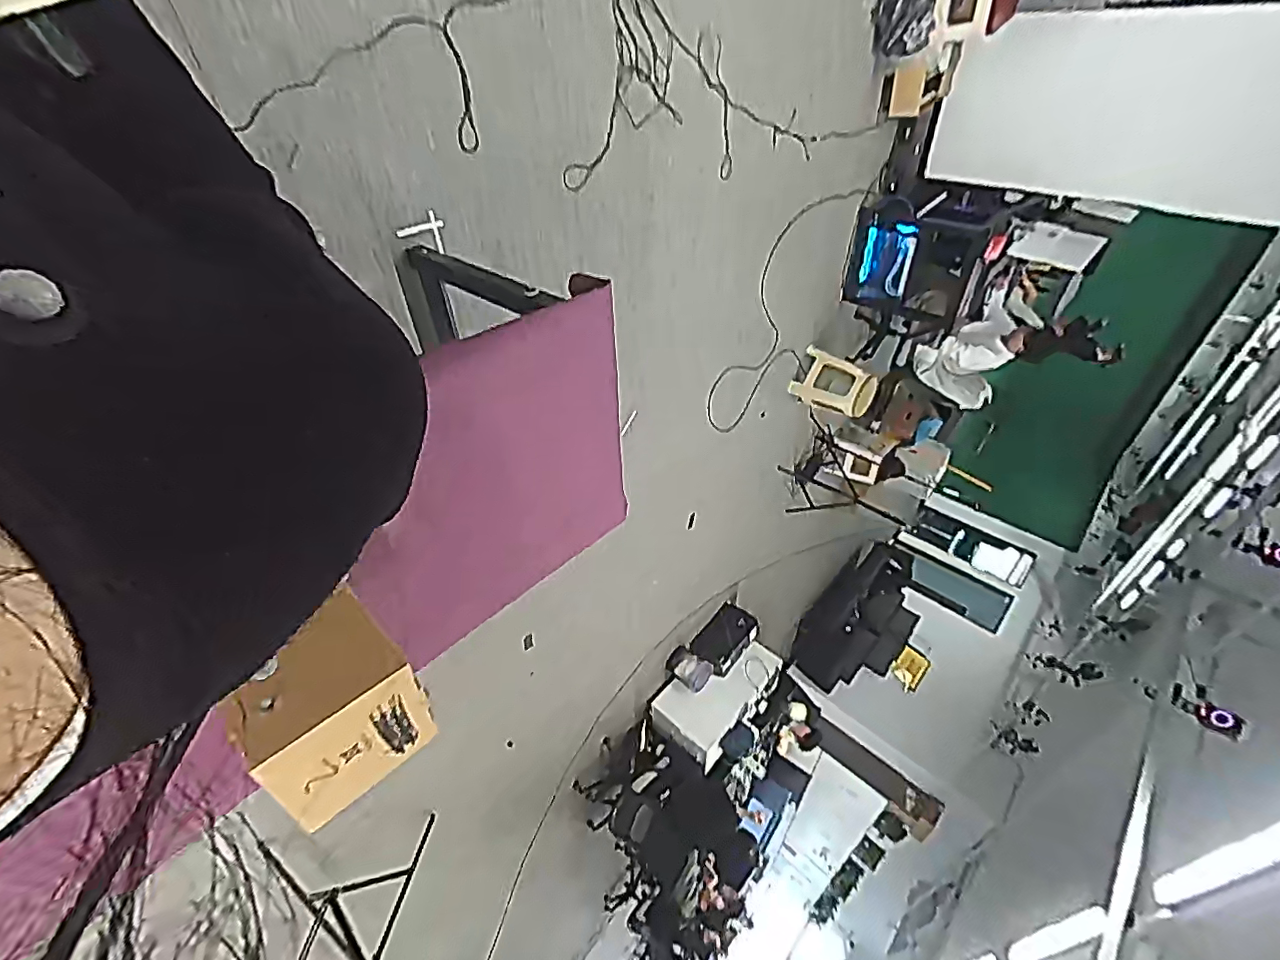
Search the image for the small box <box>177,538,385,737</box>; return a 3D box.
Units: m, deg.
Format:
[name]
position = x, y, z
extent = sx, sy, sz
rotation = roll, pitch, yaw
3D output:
[small box]
position = -0.506, 0.213, 0.774
extent = 0.179, 0.176, 0.168
rotation = -33, 138, -34
